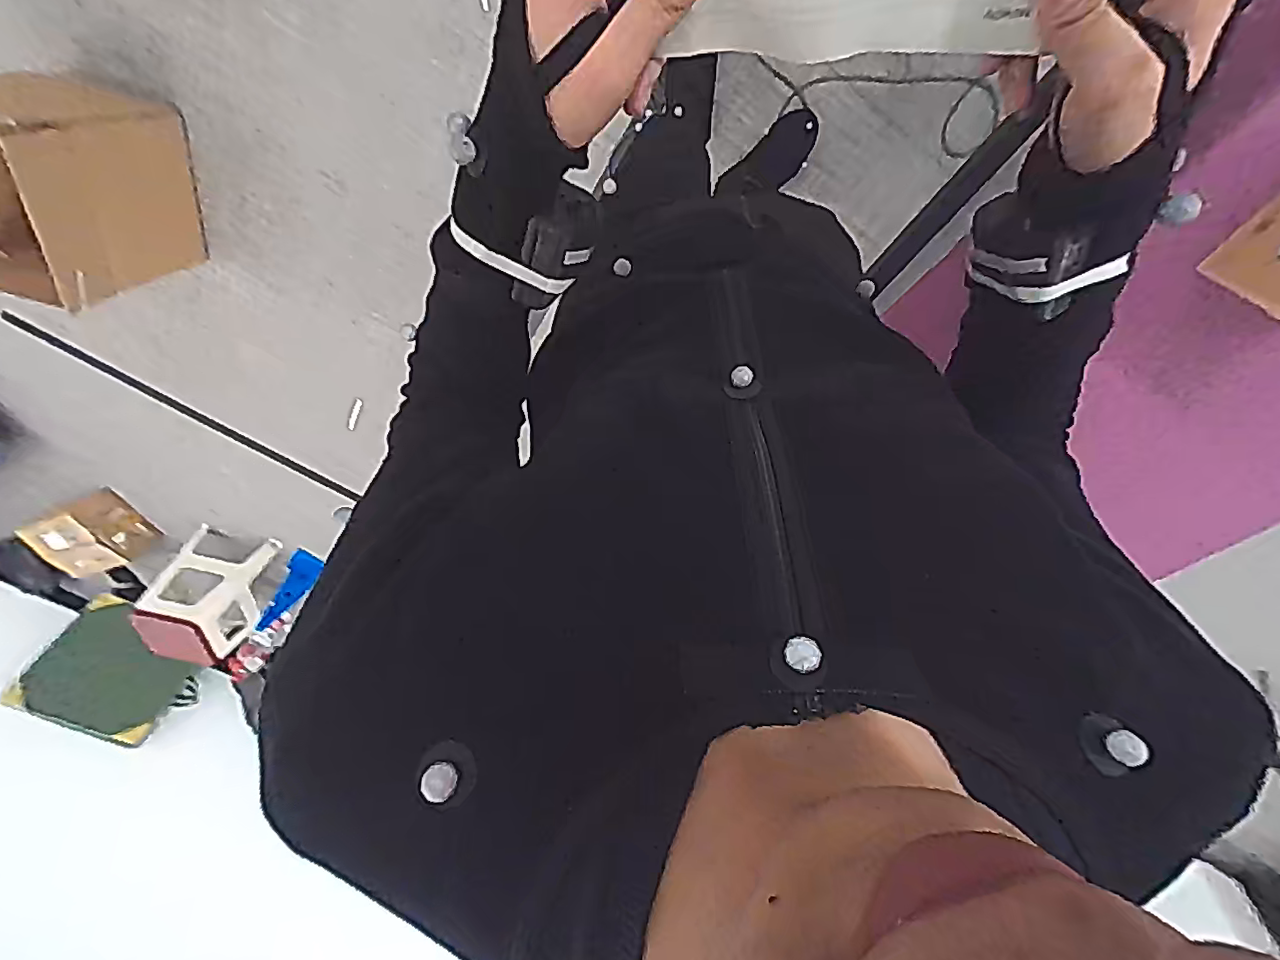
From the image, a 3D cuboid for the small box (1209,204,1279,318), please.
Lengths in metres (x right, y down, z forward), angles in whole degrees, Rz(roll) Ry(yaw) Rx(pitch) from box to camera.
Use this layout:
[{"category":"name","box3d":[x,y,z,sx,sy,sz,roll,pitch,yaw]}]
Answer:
[{"category":"small box","box3d":[0.790,-0.236,0.572,0.179,0.176,0.168,24,129,-9]}]
